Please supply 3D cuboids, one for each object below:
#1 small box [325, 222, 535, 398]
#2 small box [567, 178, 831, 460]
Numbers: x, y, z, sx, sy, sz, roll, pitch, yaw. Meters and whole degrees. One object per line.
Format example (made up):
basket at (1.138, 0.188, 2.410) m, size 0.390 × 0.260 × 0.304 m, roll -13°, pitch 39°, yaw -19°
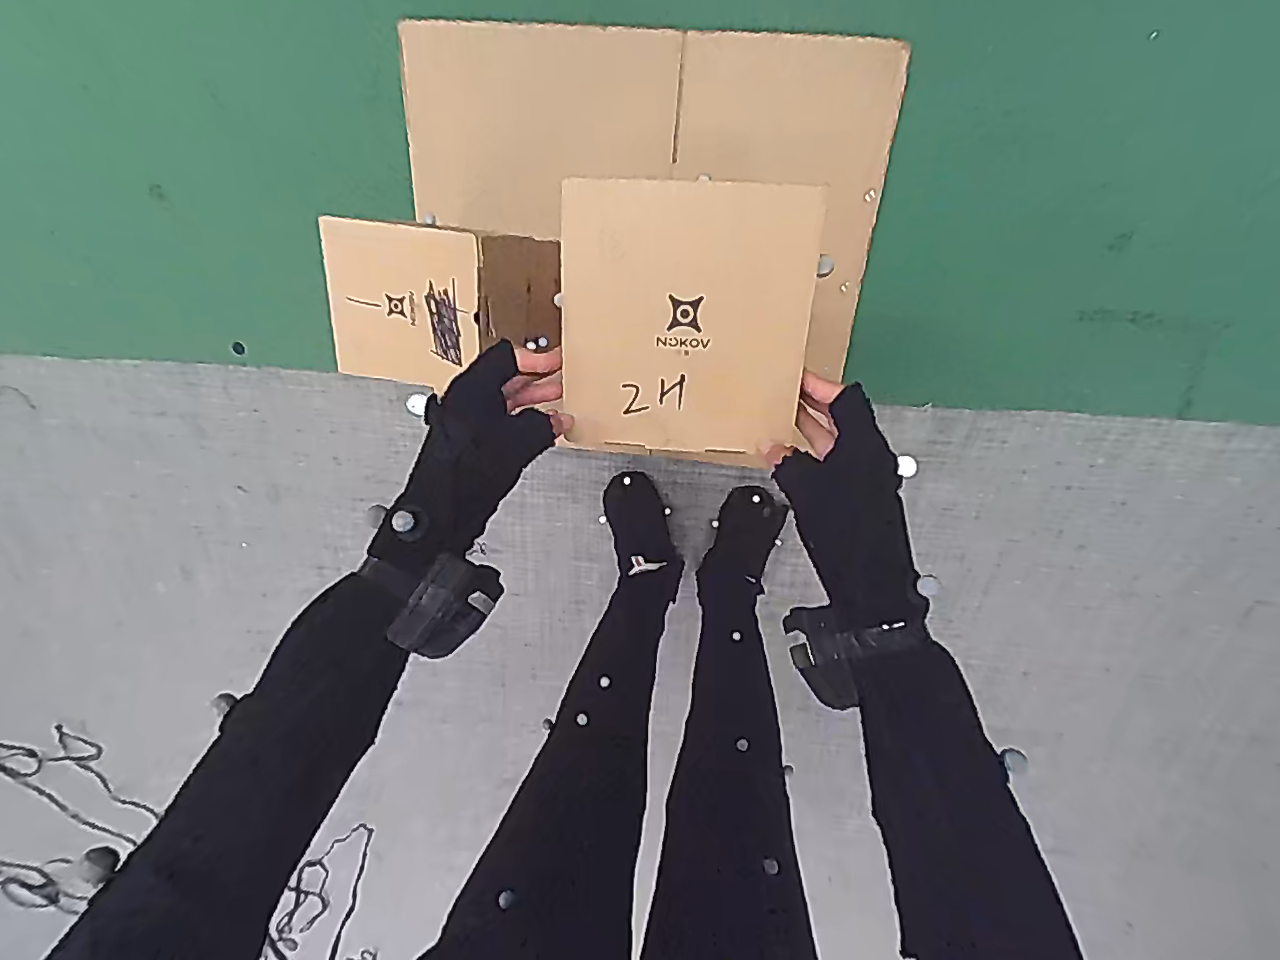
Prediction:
small box at (-0.235, -0.209, 0.652) m, size 0.179 × 0.176 × 0.168 m, roll 10°, pitch 114°, yaw 6°
small box at (0.040, -0.129, 0.437) m, size 0.168 × 0.176 × 0.179 m, roll 5°, pitch 111°, yaw 5°
